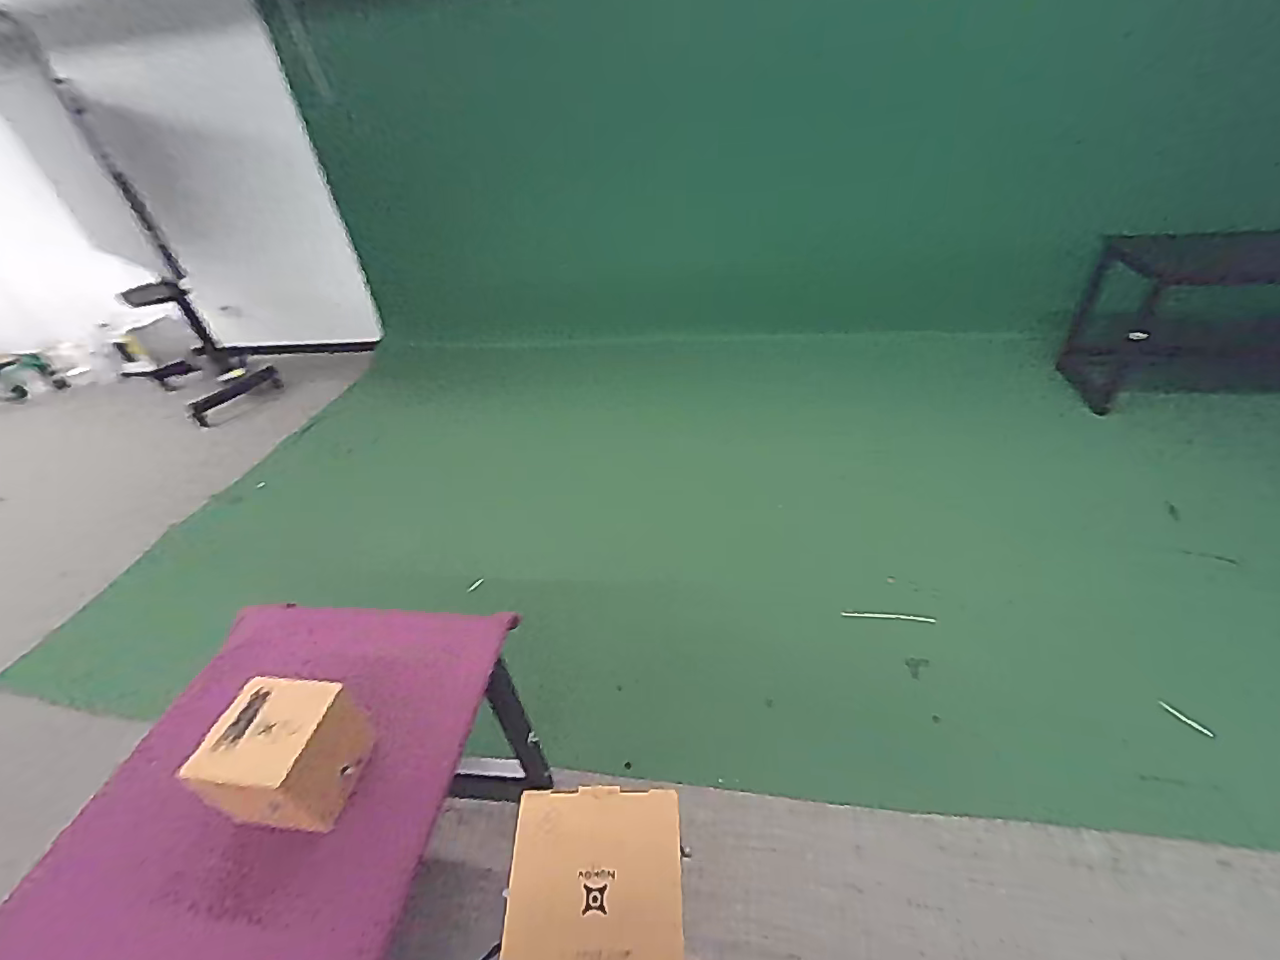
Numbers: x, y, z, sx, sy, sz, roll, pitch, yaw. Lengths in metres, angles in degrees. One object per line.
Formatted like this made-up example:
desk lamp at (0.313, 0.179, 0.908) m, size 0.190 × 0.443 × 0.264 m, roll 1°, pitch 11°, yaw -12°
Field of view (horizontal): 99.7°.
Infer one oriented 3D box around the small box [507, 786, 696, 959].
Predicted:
small box at (-0.031, 0.433, 0.552) m, size 0.168 × 0.176 × 0.179 m, roll 0°, pitch 48°, yaw 2°
